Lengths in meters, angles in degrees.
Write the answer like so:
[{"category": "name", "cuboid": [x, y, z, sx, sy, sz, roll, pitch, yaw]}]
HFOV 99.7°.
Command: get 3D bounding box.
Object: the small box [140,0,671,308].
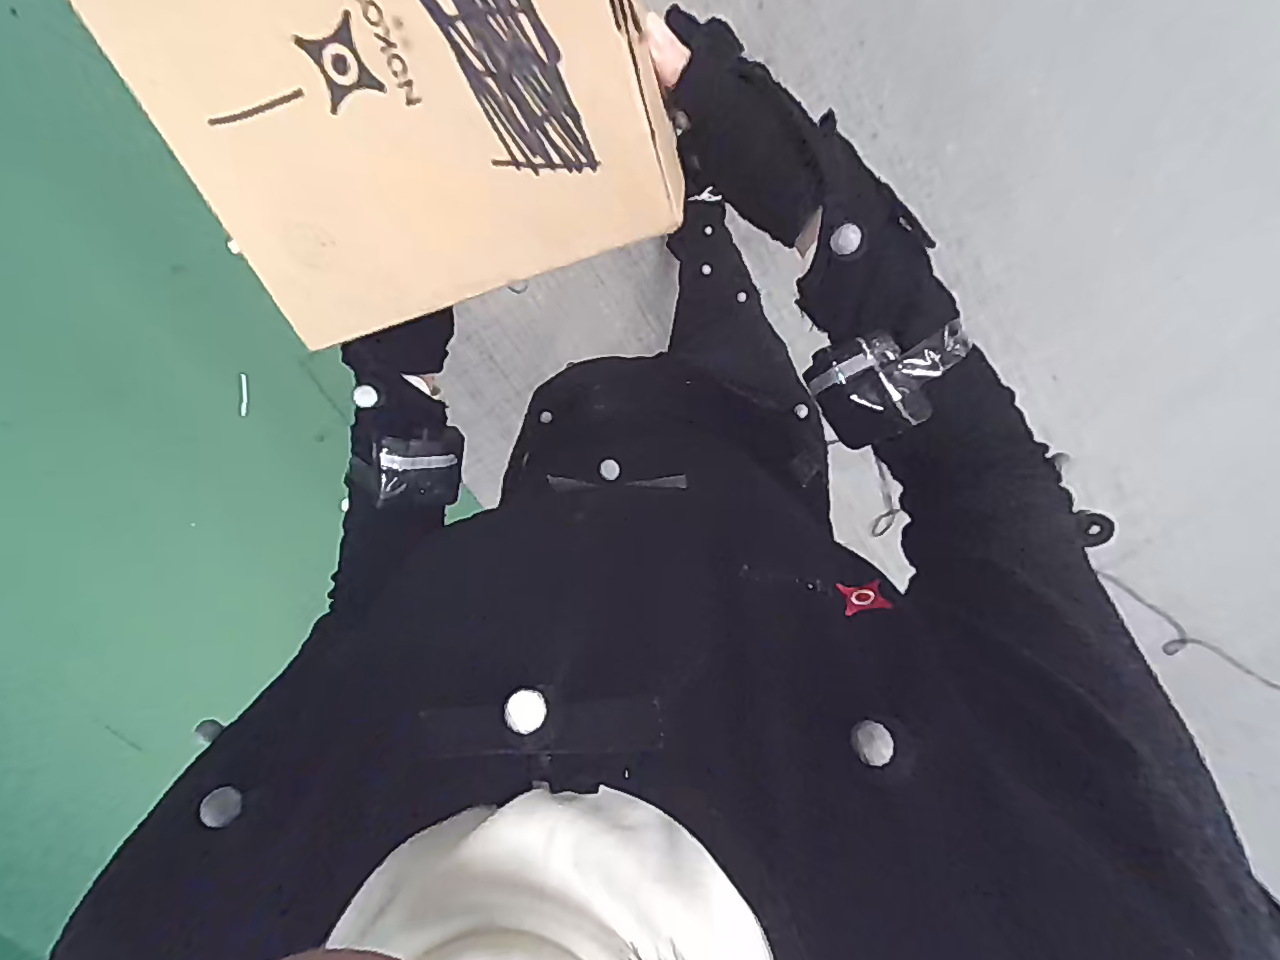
[{"category": "small box", "cuboid": [-0.086, -0.210, 0.268, 0.179, 0.176, 0.168, -11, 122, 14]}]
